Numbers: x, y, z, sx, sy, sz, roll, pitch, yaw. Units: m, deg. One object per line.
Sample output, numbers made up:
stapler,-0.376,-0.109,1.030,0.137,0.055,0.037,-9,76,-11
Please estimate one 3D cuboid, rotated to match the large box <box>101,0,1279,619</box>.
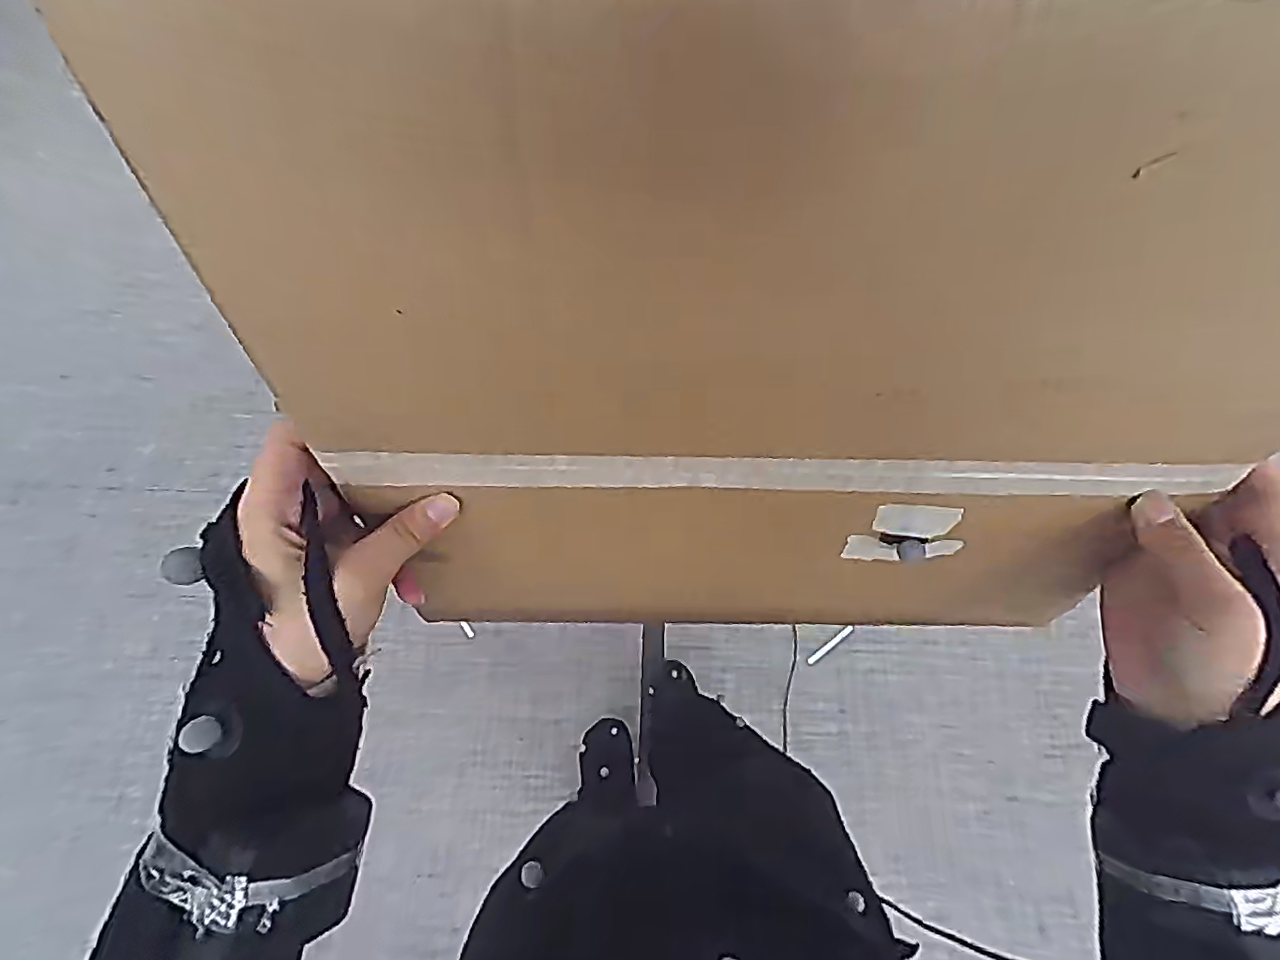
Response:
large box,0.059,-0.122,0.341,0.408,0.320,0.320,0,52,-2
